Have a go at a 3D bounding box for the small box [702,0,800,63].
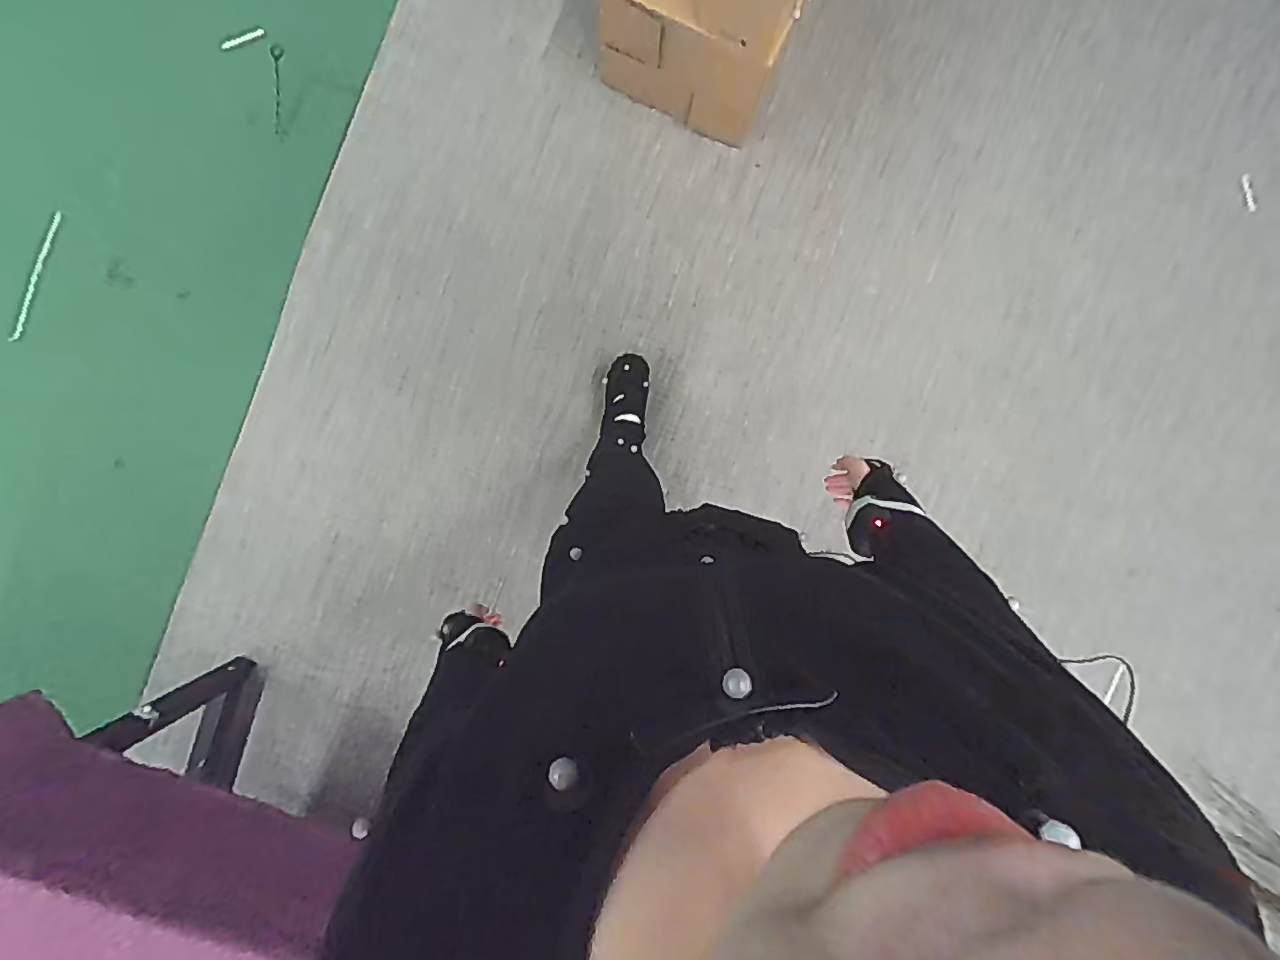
[{"bbox_3d":[0.233,-0.980,1.051,0.168,0.176,0.179,27,90,-1],"label":"small box"}]
